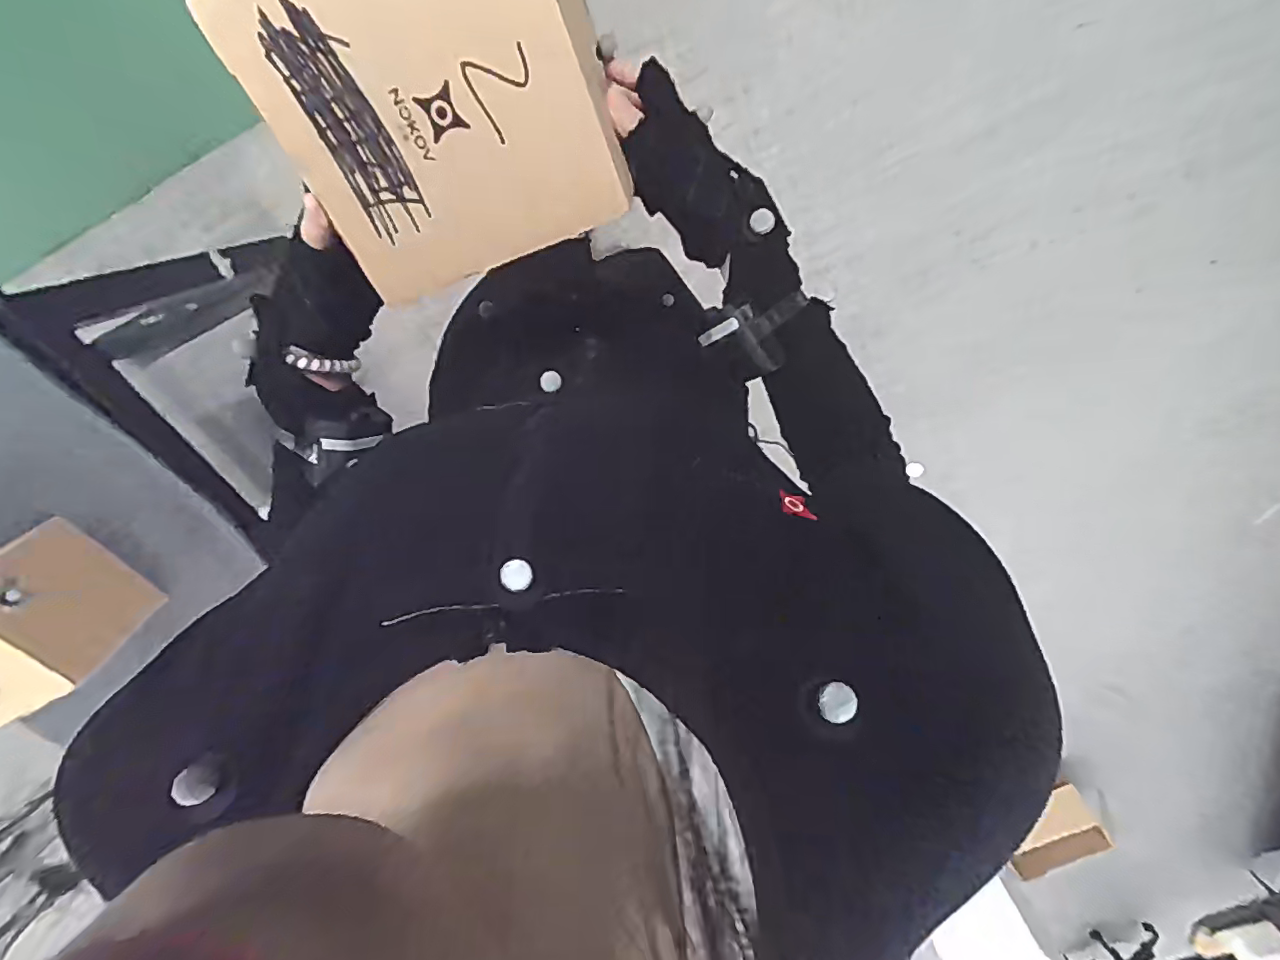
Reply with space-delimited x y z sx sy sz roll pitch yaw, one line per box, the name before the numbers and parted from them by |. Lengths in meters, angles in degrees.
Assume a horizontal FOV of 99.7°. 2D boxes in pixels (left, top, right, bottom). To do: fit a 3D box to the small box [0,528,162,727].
small box | -0.811 0.186 0.712 0.168 0.176 0.179 -25 119 9
